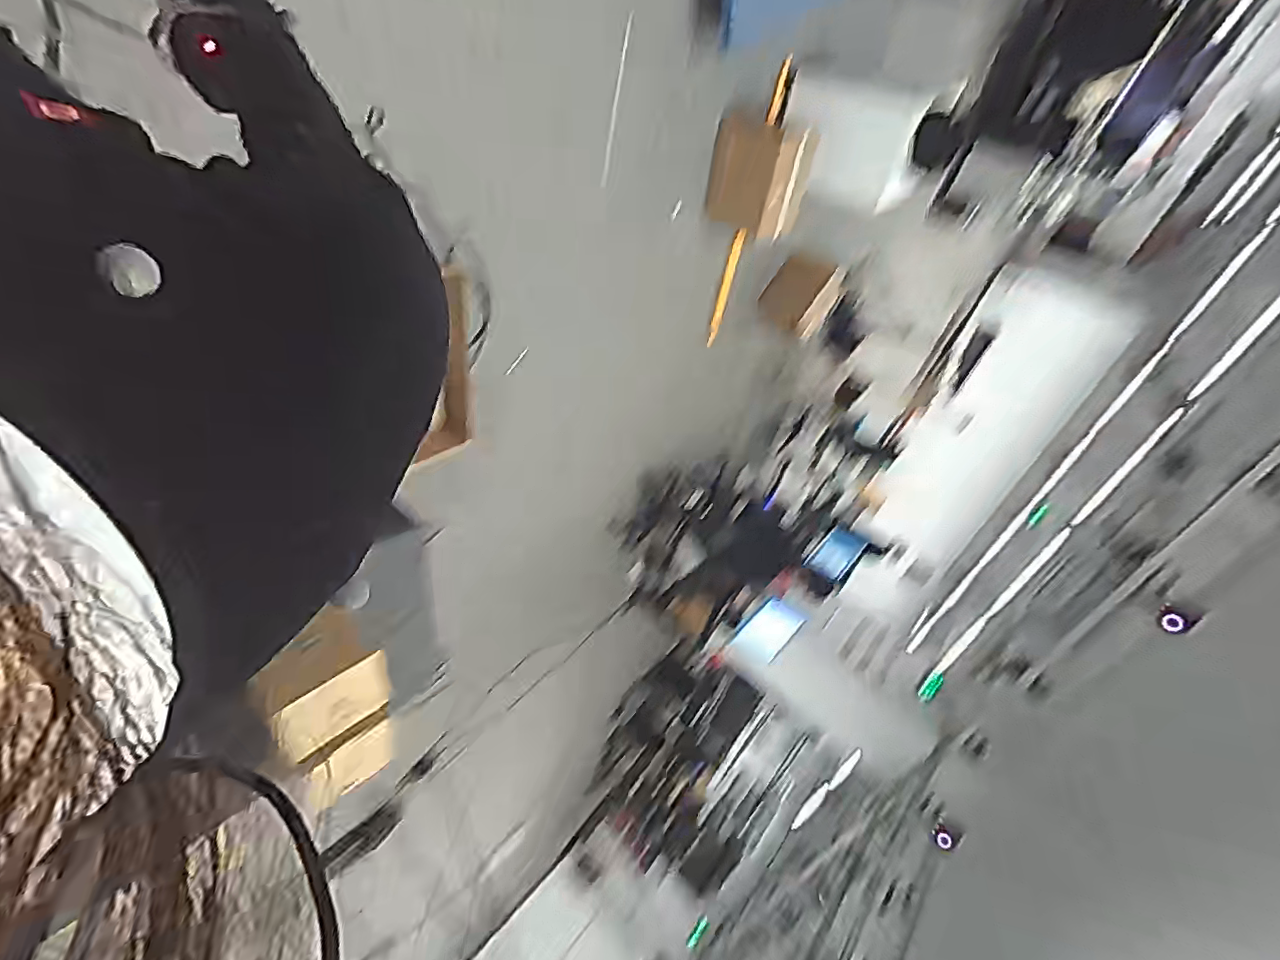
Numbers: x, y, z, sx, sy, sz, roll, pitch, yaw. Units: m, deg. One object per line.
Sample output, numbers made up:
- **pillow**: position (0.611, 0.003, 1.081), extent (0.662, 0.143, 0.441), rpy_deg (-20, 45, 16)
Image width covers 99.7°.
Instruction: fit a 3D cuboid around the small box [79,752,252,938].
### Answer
- **small box**: position (-0.800, 0.609, 0.921), extent (0.168, 0.176, 0.179), rpy_deg (-27, 142, -46)
